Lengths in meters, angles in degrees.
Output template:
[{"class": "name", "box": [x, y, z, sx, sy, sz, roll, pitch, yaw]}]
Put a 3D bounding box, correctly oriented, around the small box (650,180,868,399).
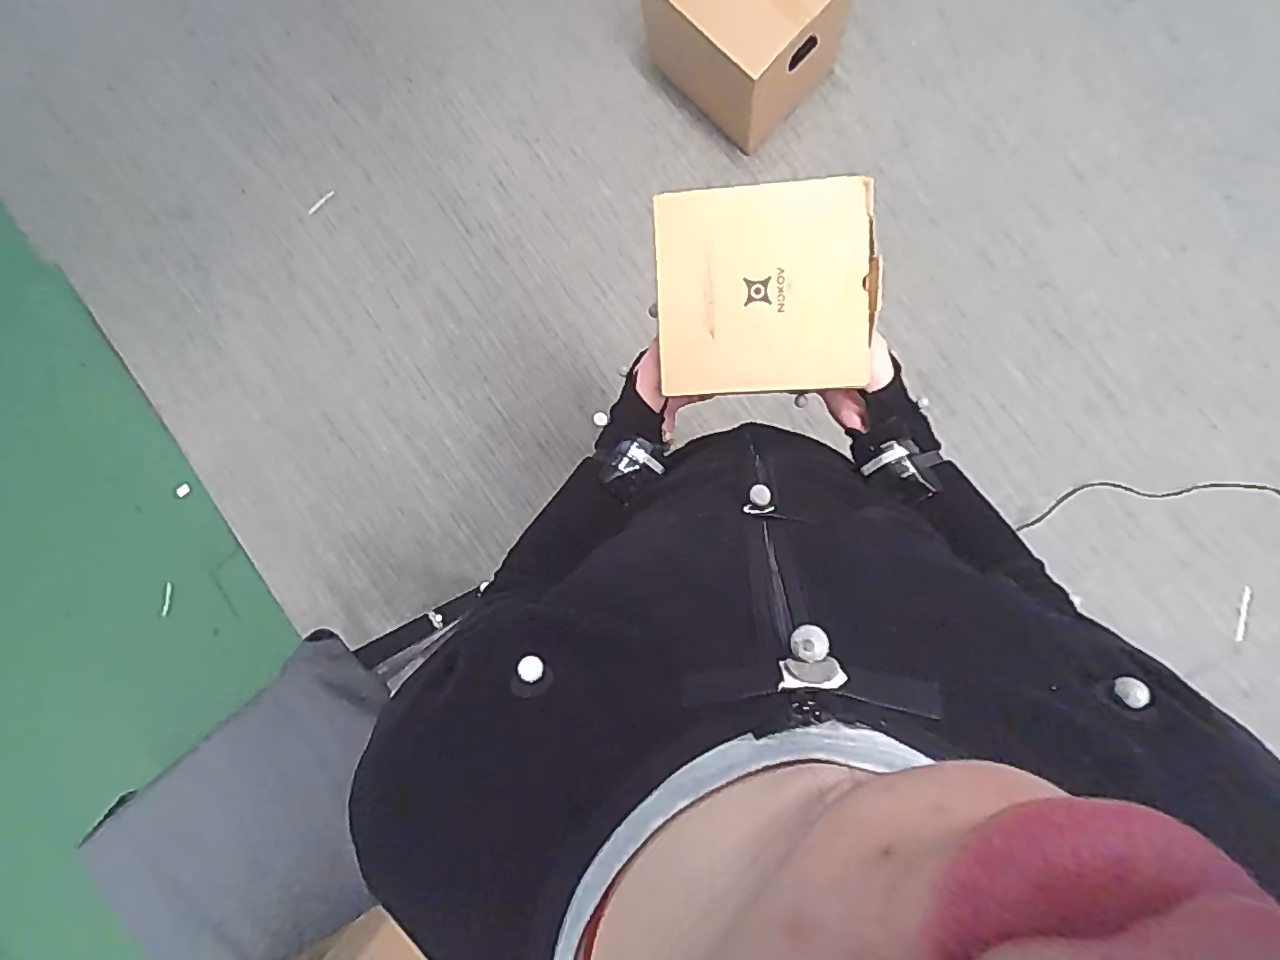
[{"class": "small box", "box": [0.107, -0.166, 0.525, 0.179, 0.176, 0.168, -2, 97, 8]}]
